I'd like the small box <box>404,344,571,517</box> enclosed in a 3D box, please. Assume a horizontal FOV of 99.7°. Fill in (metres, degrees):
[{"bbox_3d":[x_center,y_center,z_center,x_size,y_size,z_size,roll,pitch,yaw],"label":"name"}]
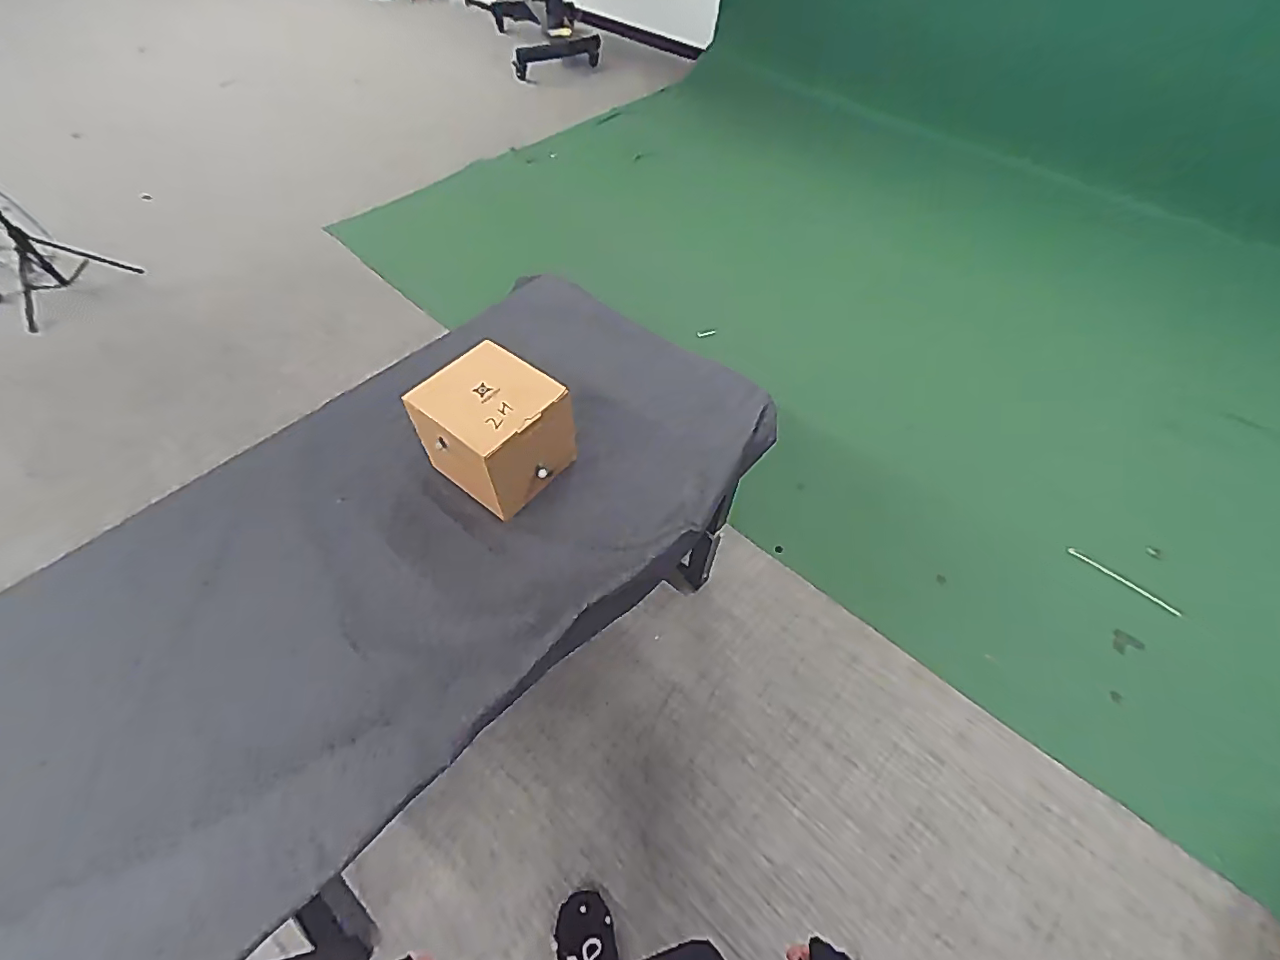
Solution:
[{"bbox_3d":[-0.226,-0.073,0.844,0.179,0.176,0.168,34,60,19],"label":"small box"}]
